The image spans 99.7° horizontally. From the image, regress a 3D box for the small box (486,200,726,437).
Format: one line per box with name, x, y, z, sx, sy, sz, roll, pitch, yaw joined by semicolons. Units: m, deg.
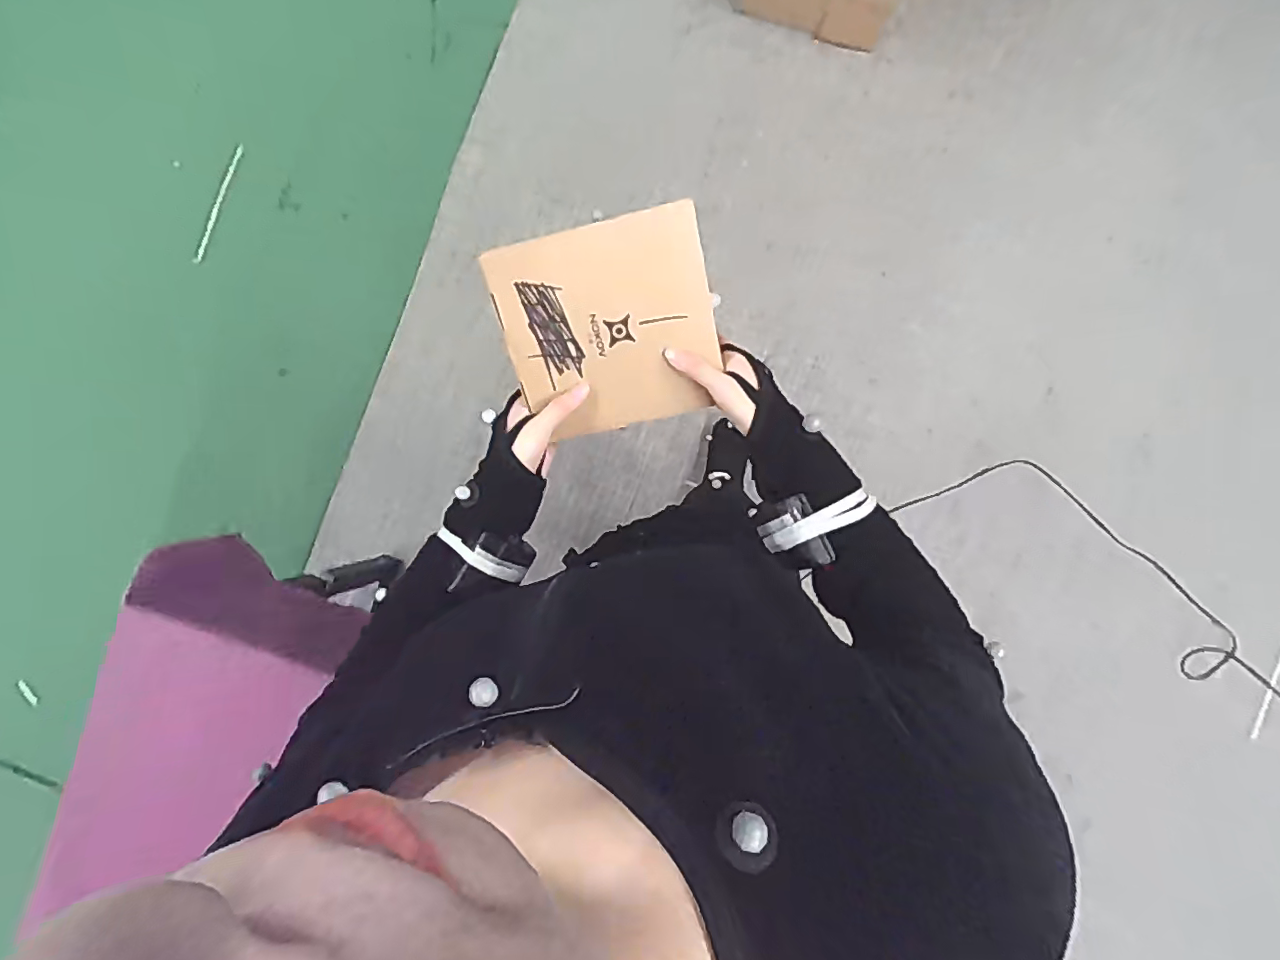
small box;-0.021;-0.155;0.524;0.179;0.176;0.168;-11;112;5
